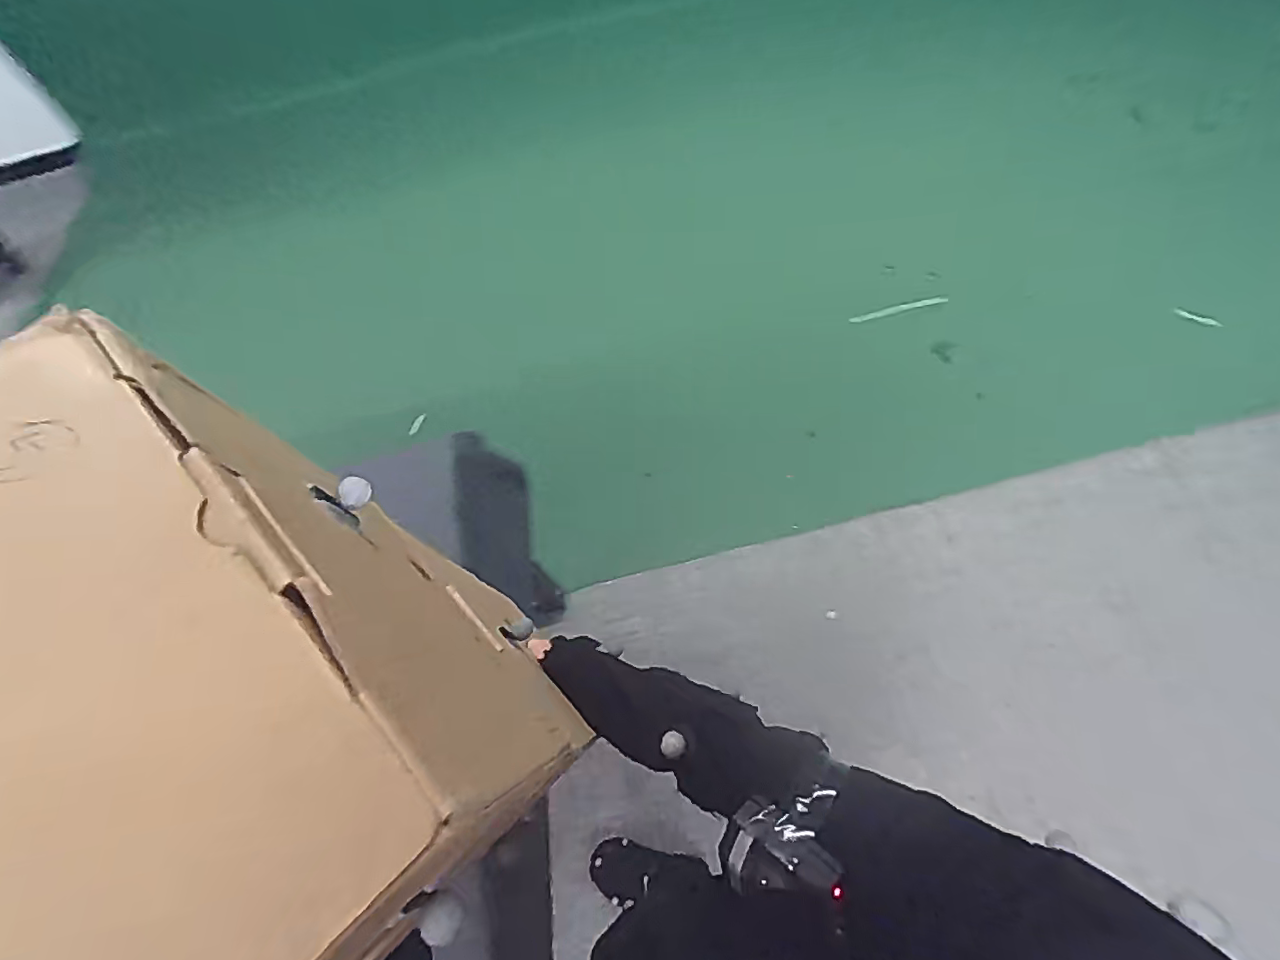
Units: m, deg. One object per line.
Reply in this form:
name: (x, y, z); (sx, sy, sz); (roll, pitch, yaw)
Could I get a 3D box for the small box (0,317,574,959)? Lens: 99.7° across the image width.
small box: (-0.137, 0.091, 0.183); (0.179, 0.176, 0.168); (-42, 74, -13)

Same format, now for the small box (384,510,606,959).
small box: (-0.136, 0.152, 0.334); (0.179, 0.176, 0.168); (-41, 74, -14)
